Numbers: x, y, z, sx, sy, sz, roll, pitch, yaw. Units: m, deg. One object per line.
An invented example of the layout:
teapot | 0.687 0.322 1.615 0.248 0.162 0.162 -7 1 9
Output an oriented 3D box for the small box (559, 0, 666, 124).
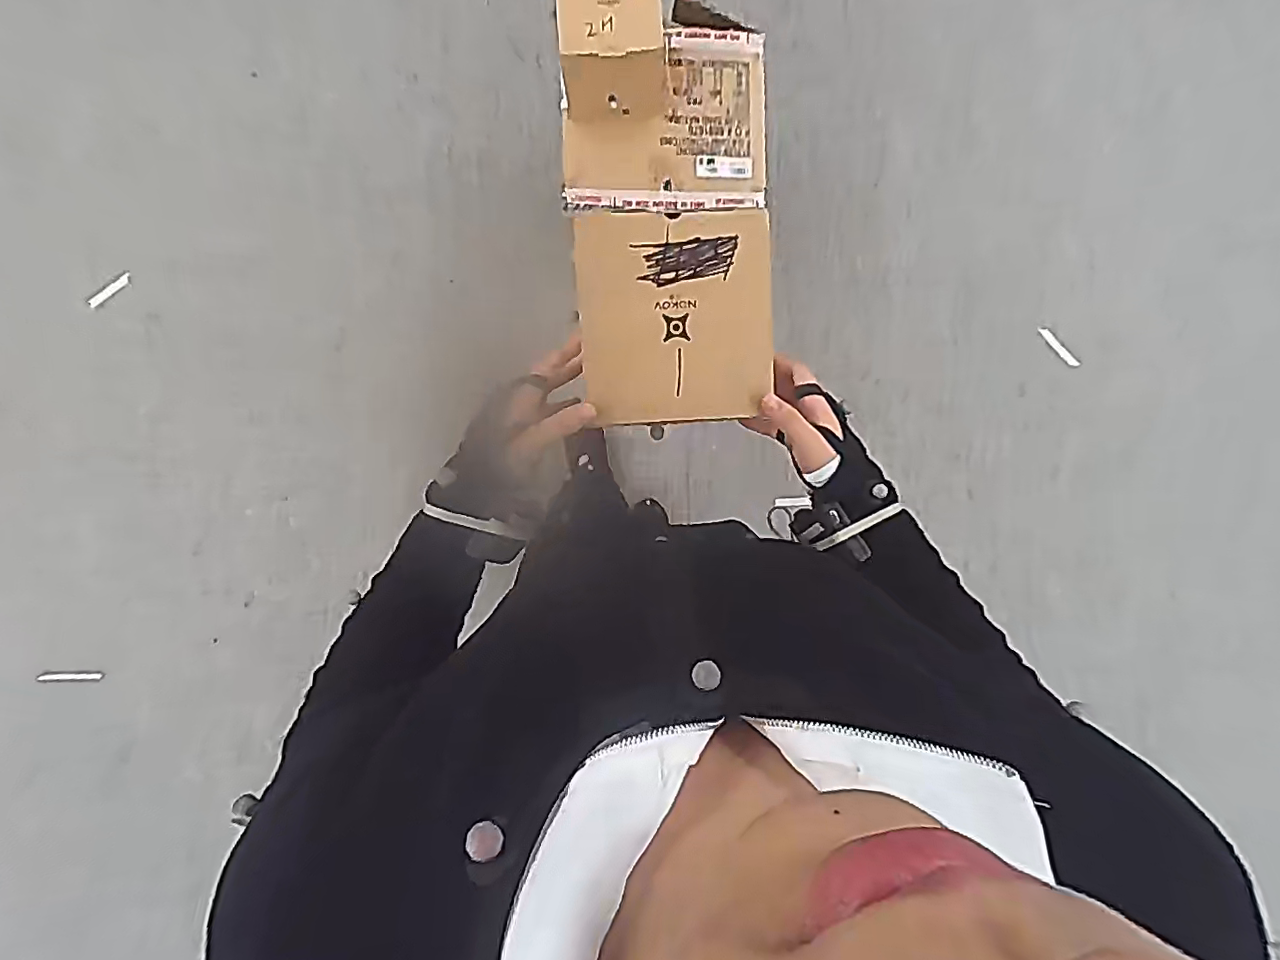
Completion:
small box | -0.048 -0.748 0.921 0.168 0.176 0.179 -4 93 -1

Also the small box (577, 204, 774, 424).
small box | 0.023 -0.148 0.534 0.168 0.176 0.179 -3 95 -5
